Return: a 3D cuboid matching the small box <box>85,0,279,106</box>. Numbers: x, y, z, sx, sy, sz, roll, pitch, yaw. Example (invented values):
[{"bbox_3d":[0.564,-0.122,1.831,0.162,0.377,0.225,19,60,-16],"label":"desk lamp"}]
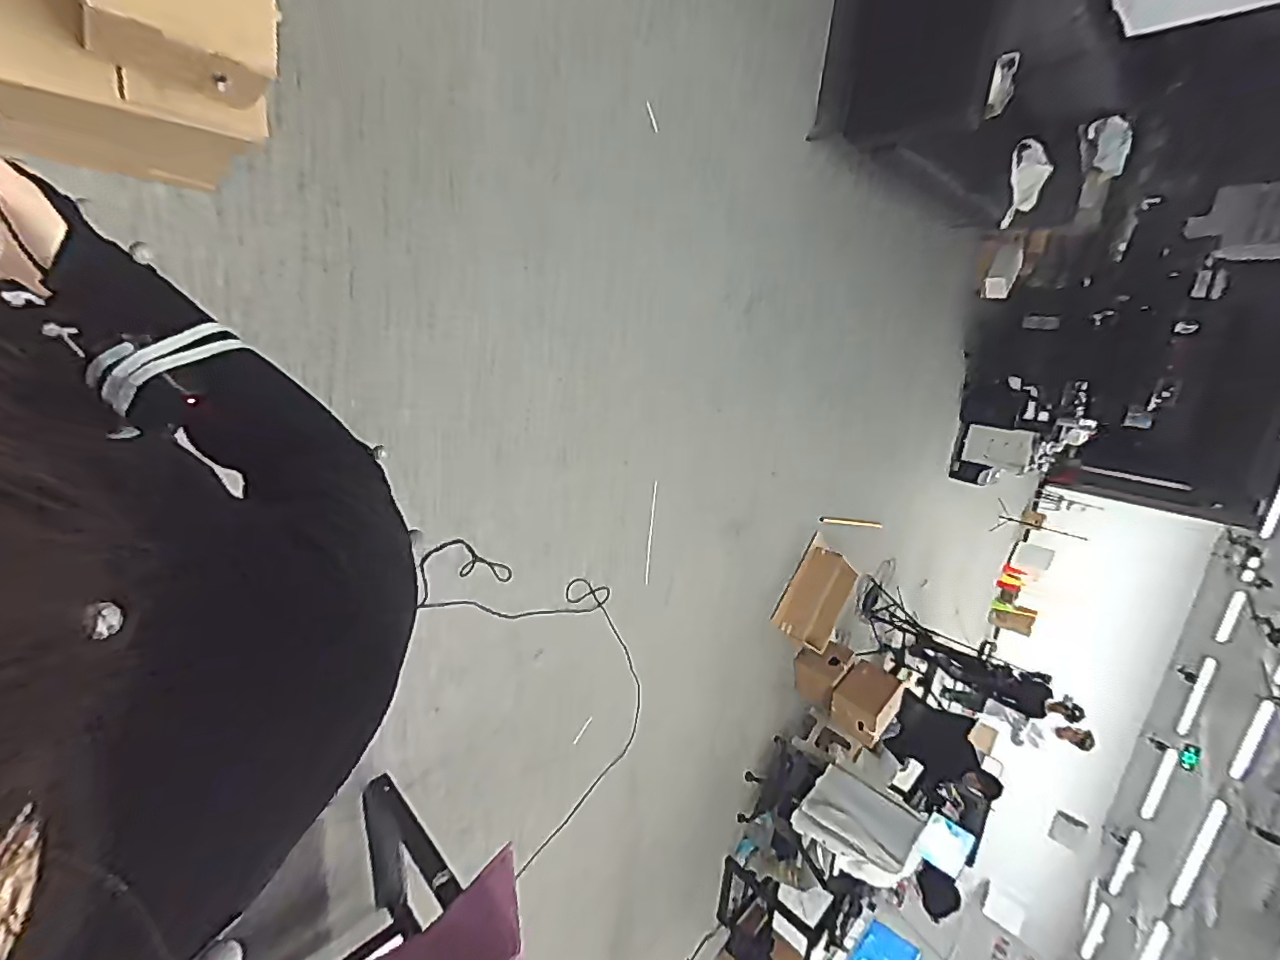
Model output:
[{"bbox_3d":[-0.535,-0.576,0.631,0.168,0.176,0.179,-5,107,-44],"label":"small box"}]
